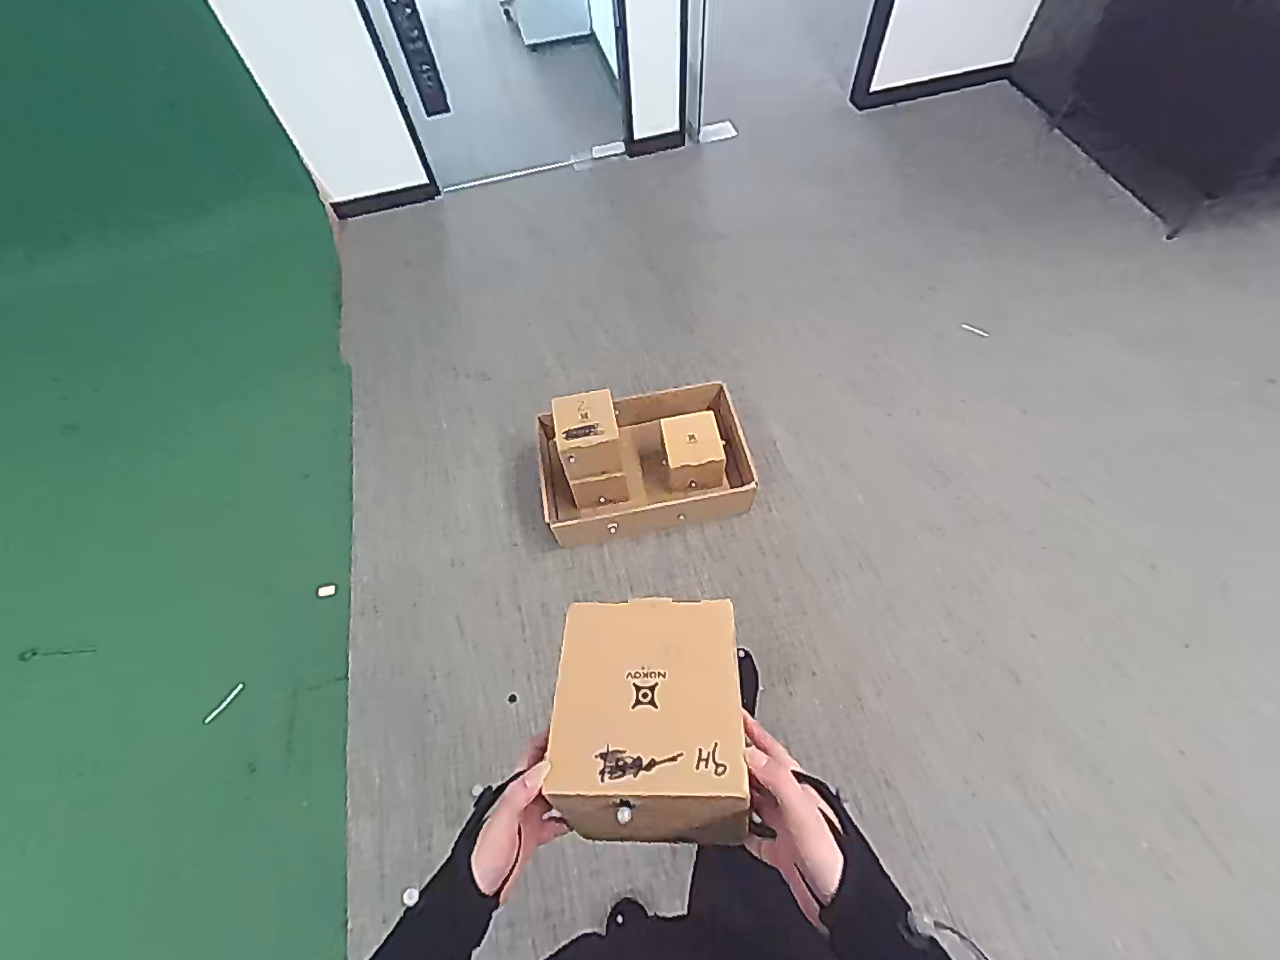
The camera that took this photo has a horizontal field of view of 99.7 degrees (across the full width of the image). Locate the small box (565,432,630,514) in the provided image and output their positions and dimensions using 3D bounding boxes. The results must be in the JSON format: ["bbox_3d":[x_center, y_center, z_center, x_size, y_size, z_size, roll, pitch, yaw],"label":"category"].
[{"bbox_3d":[-0.127,-0.020,1.643,0.168,0.176,0.179,-10,59,-2],"label":"small box"}]

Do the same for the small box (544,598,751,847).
[{"bbox_3d":[0.017,0.237,0.535,0.168,0.176,0.179,-3,44,7],"label":"small box"}]
